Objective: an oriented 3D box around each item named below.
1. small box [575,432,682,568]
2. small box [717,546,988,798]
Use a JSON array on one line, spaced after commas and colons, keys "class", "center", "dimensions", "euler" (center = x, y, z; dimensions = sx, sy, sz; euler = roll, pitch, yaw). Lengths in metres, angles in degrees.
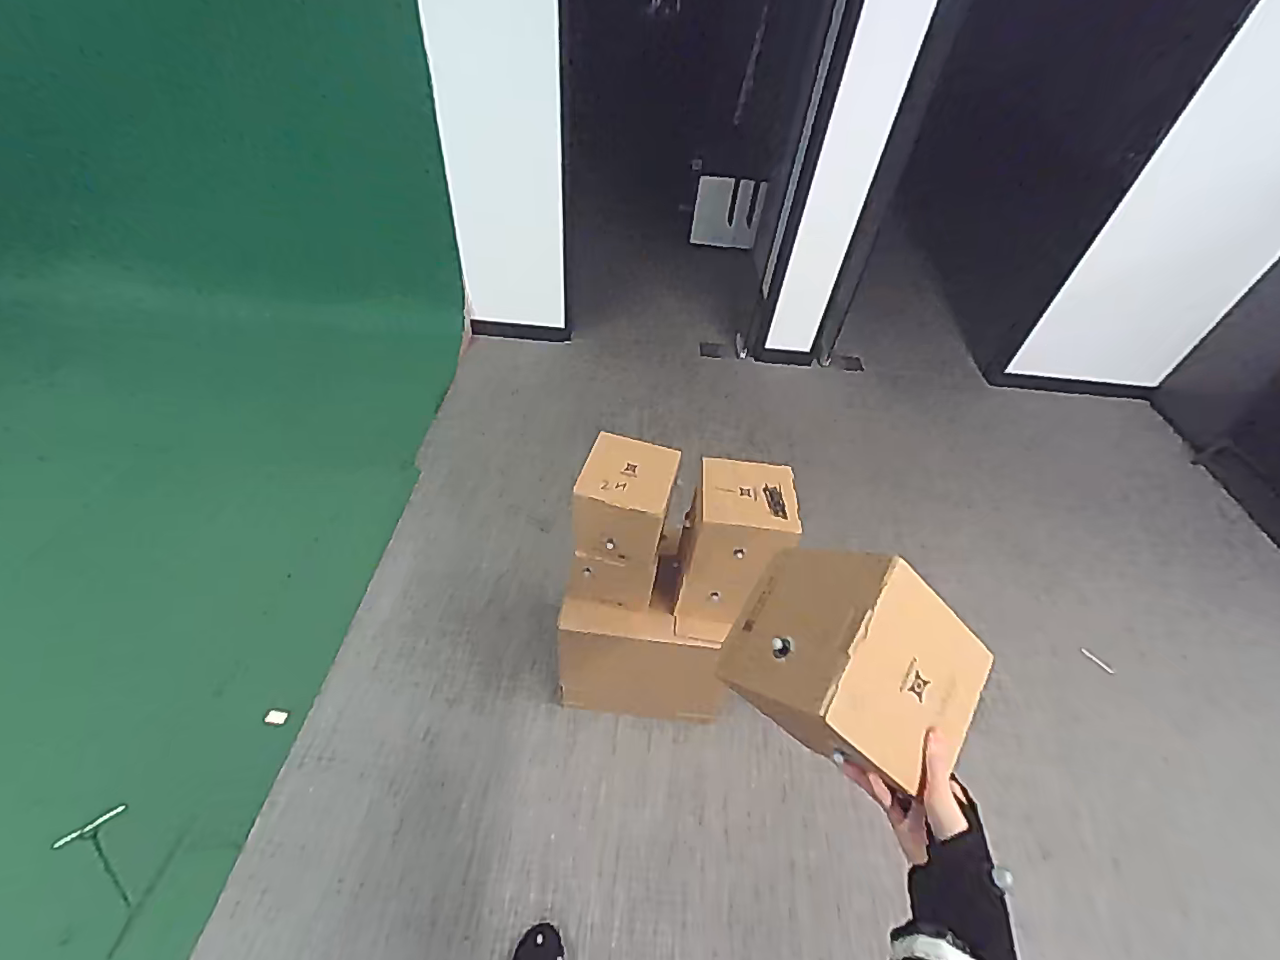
[{"class": "small box", "center": [-0.025, 0.040, 1.056], "dimensions": [0.168, 0.176, 0.179], "euler": [14, 47, 6]}, {"class": "small box", "center": [0.214, 0.185, 0.571], "dimensions": [0.179, 0.176, 0.168], "euler": [42, 70, -17]}]
